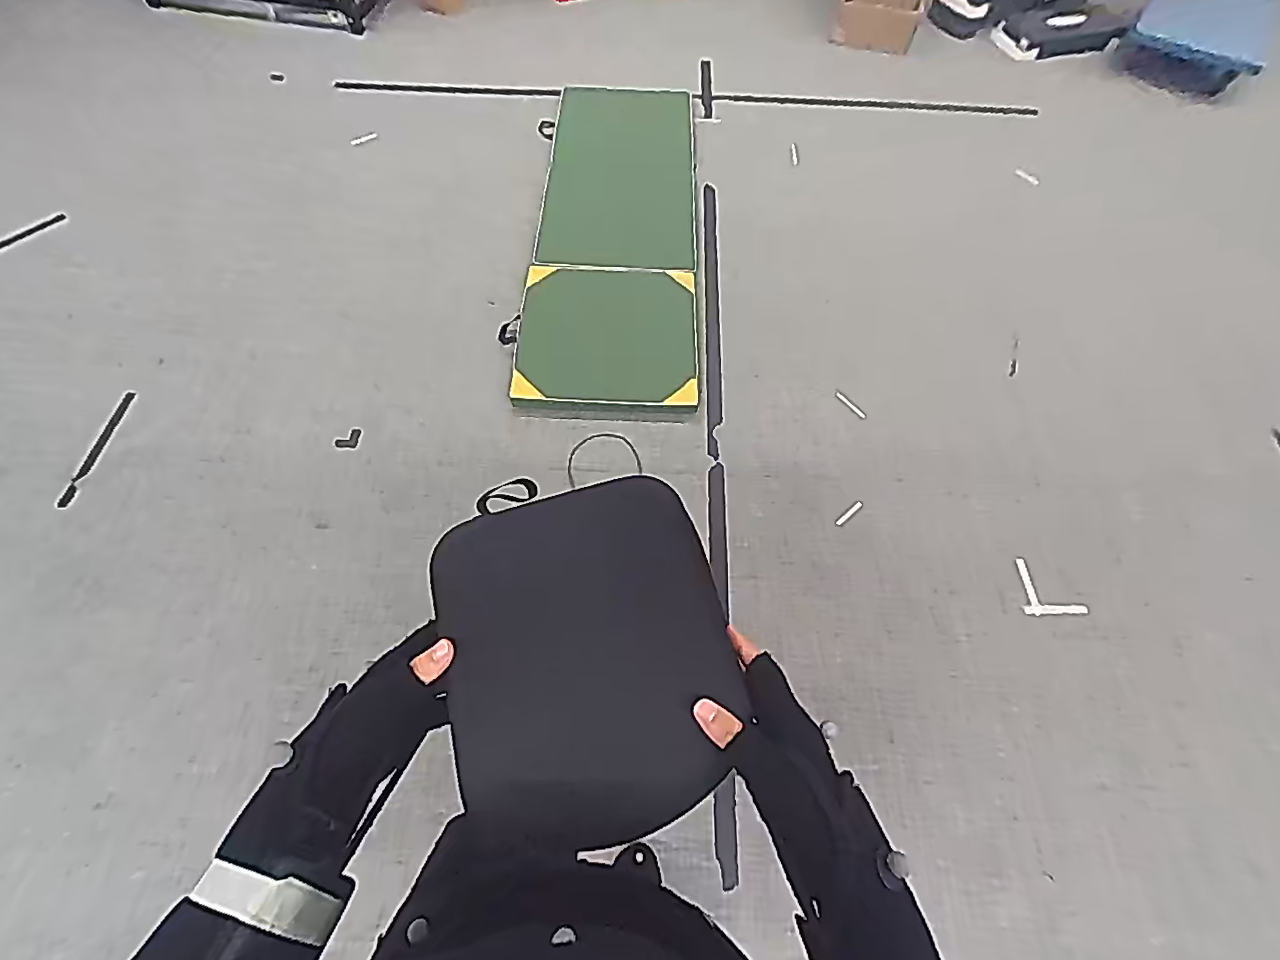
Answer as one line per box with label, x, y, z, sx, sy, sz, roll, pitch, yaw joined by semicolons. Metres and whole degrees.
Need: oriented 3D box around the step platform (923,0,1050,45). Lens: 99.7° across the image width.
step platform;1.924;-2.618;2.964;0.684;0.204;0.286;-25;66;-13
